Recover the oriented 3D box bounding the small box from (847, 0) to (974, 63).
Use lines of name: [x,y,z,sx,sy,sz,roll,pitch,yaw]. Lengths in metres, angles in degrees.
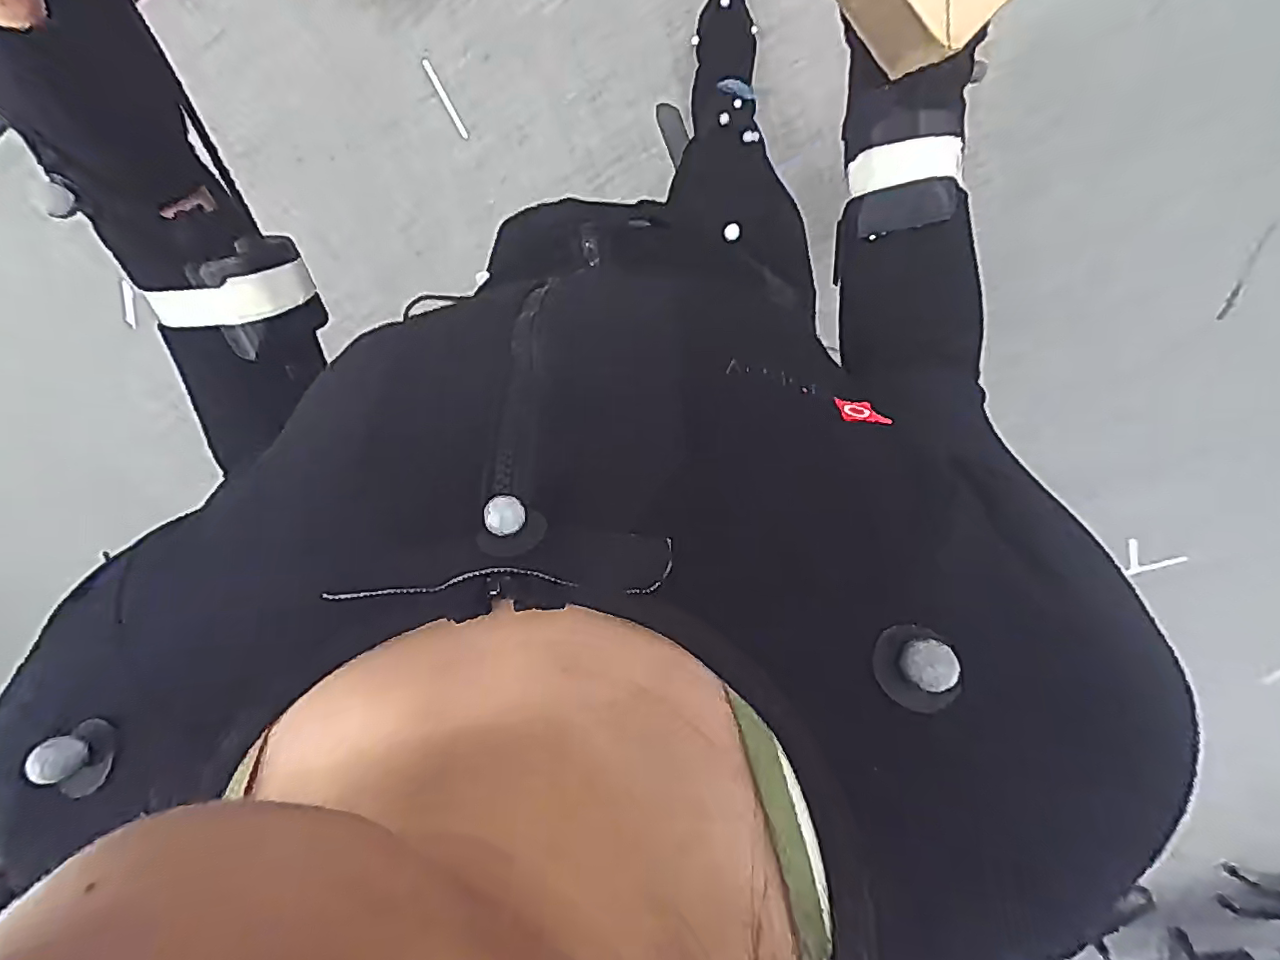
small box: [0.128,-0.308,0.202,0.179,0.176,0.168,44,123,-13]
